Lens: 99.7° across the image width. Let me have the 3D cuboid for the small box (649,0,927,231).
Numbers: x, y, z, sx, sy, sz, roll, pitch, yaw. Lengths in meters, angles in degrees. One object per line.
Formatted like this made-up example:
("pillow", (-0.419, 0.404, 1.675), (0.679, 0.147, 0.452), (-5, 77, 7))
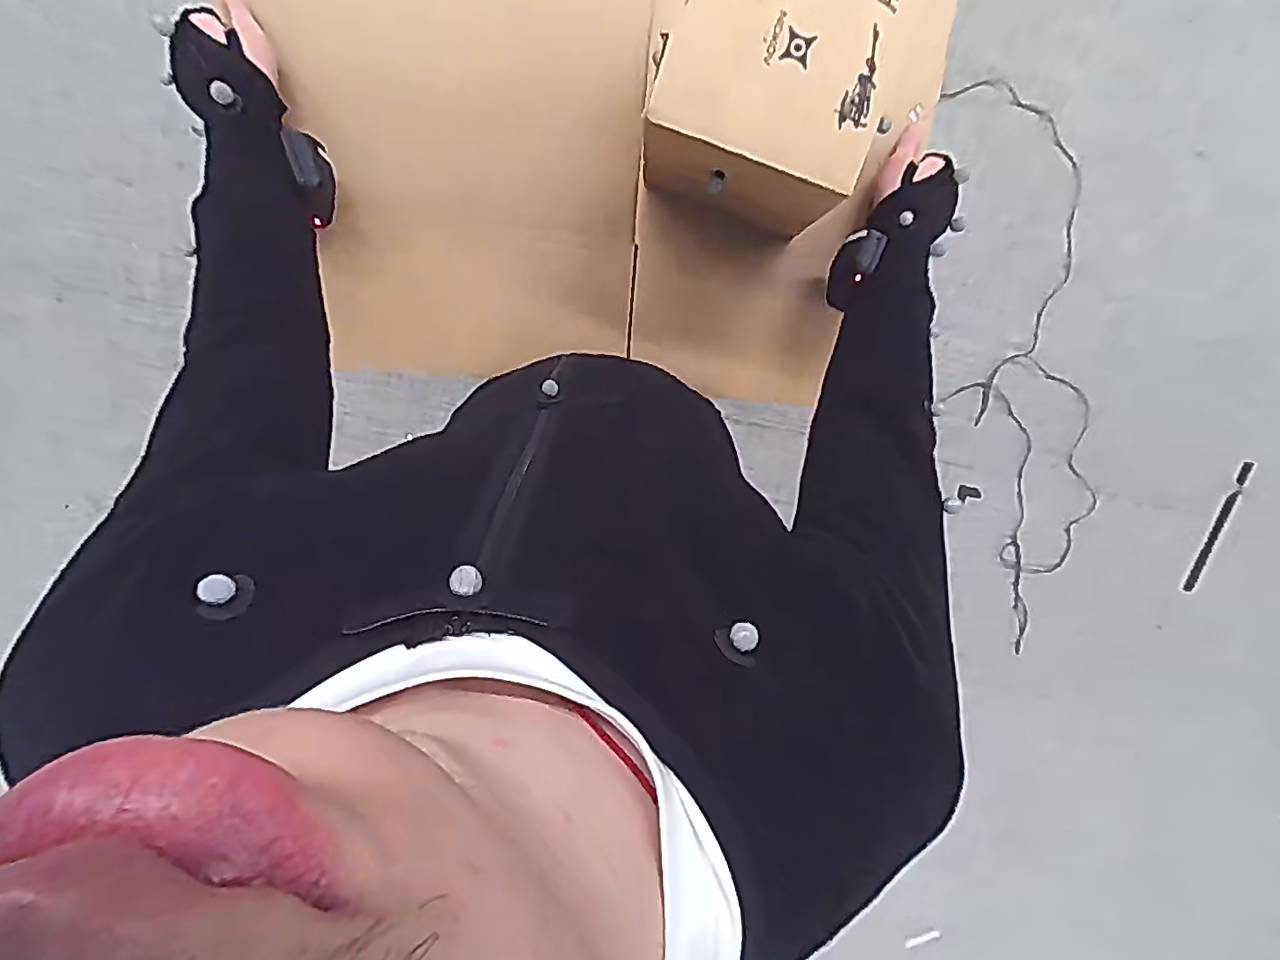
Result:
("small box", (0.116, -0.348, 0.490), (0.179, 0.176, 0.168), (19, 103, -3))
